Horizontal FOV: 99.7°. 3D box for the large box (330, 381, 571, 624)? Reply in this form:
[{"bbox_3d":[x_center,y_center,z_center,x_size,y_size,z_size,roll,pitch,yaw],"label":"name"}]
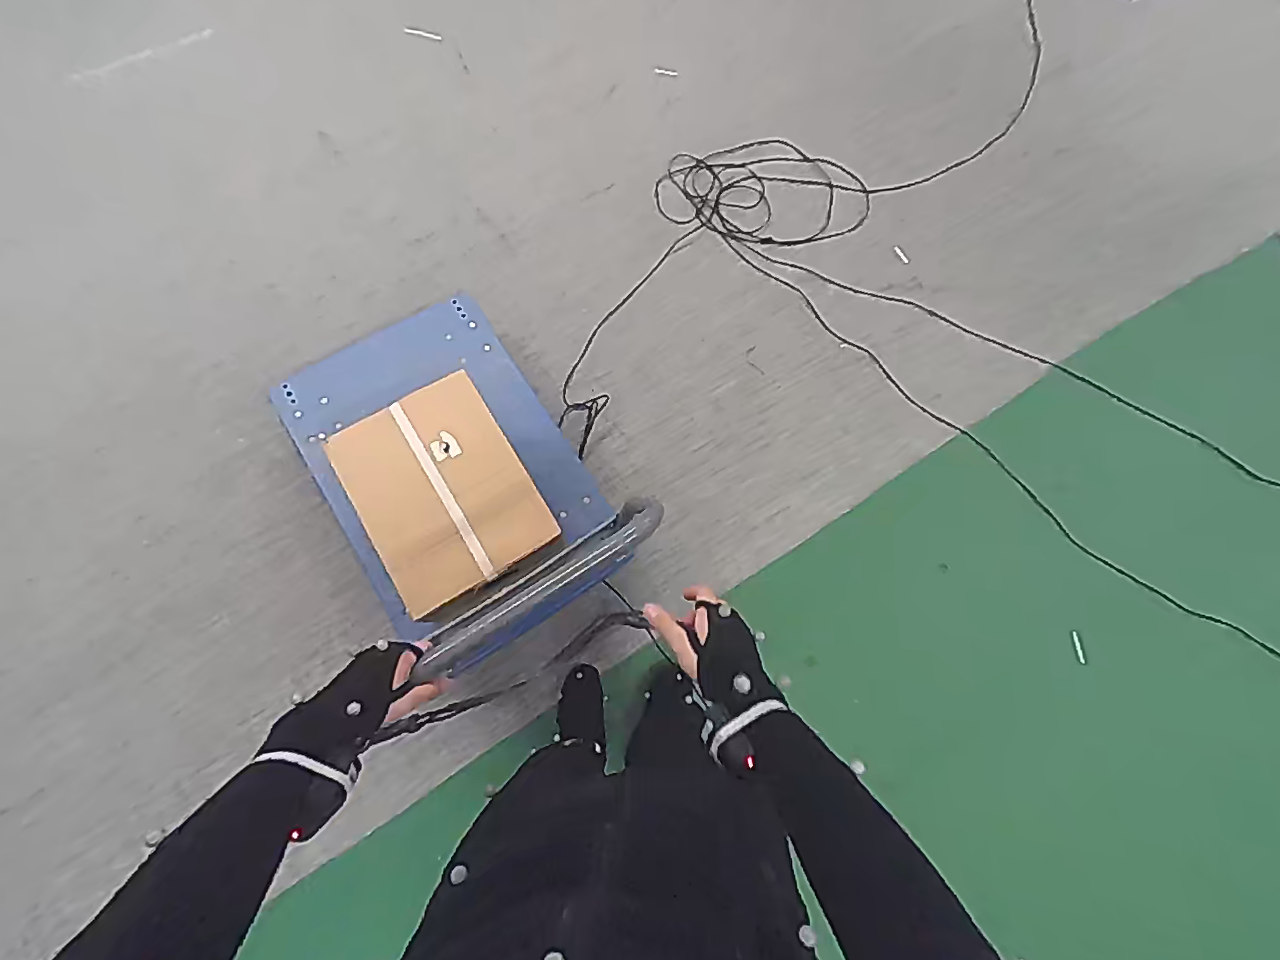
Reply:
[{"bbox_3d":[-0.391,0.067,1.205,0.320,0.320,0.408,-30,78,-13],"label":"large box"}]
